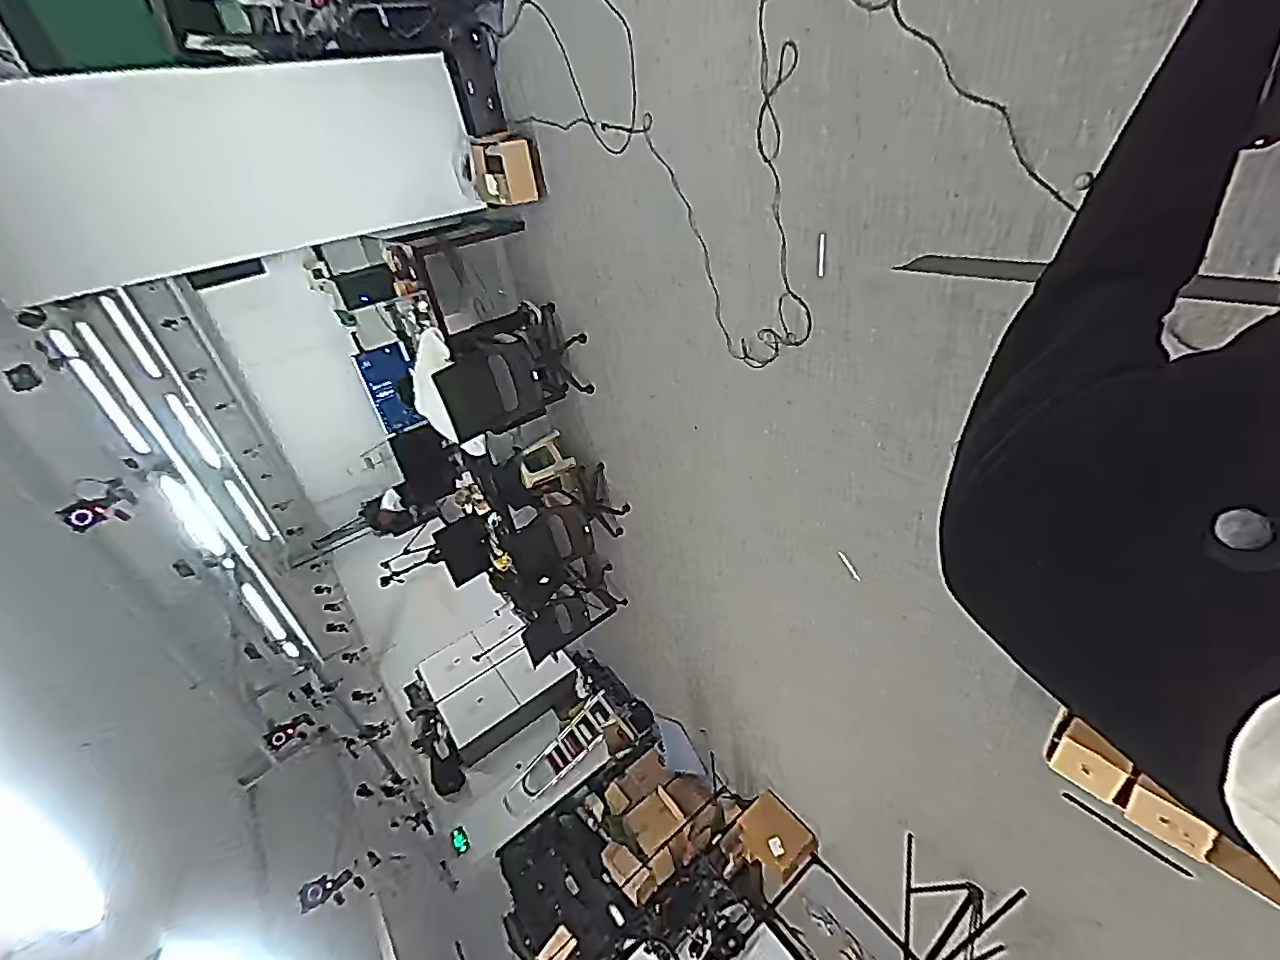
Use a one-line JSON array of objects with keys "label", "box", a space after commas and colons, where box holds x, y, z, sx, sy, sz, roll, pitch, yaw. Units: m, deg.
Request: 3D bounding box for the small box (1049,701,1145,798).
[{"label": "small box", "box": [1.437, 0.841, 1.698, 0.168, 0.176, 0.179, 30, 137, 46]}]
